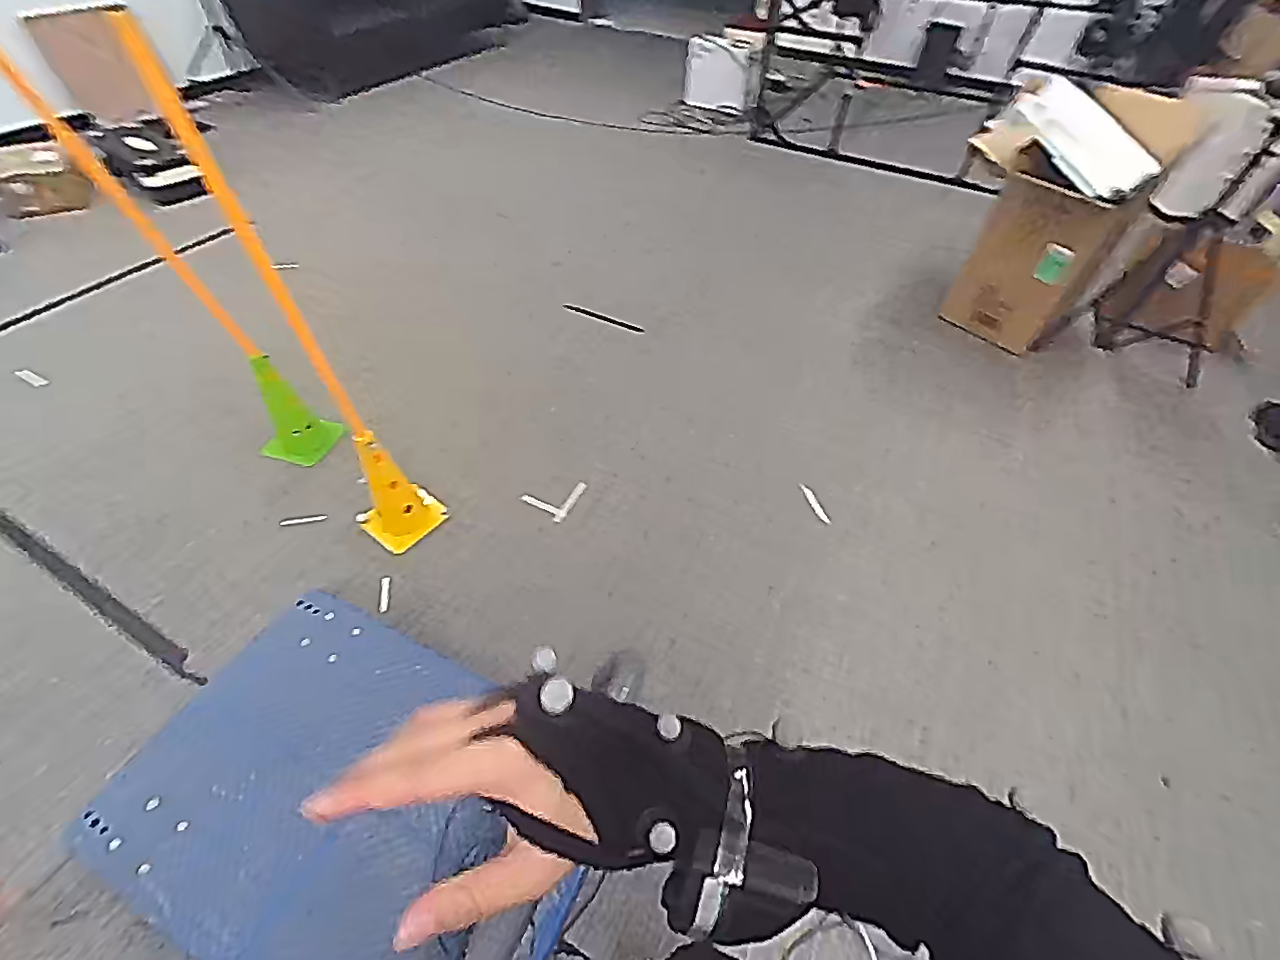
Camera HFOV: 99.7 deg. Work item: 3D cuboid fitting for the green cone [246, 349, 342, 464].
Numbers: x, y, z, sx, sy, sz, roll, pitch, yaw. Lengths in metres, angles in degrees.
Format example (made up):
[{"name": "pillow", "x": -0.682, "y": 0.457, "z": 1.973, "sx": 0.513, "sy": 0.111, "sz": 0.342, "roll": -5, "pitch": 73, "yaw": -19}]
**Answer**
[{"name": "green cone", "x": -1.134, "y": -0.250, "z": 1.692, "sx": 0.202, "sy": 0.368, "sz": 0.200, "roll": 13, "pitch": 50, "yaw": 7}]
